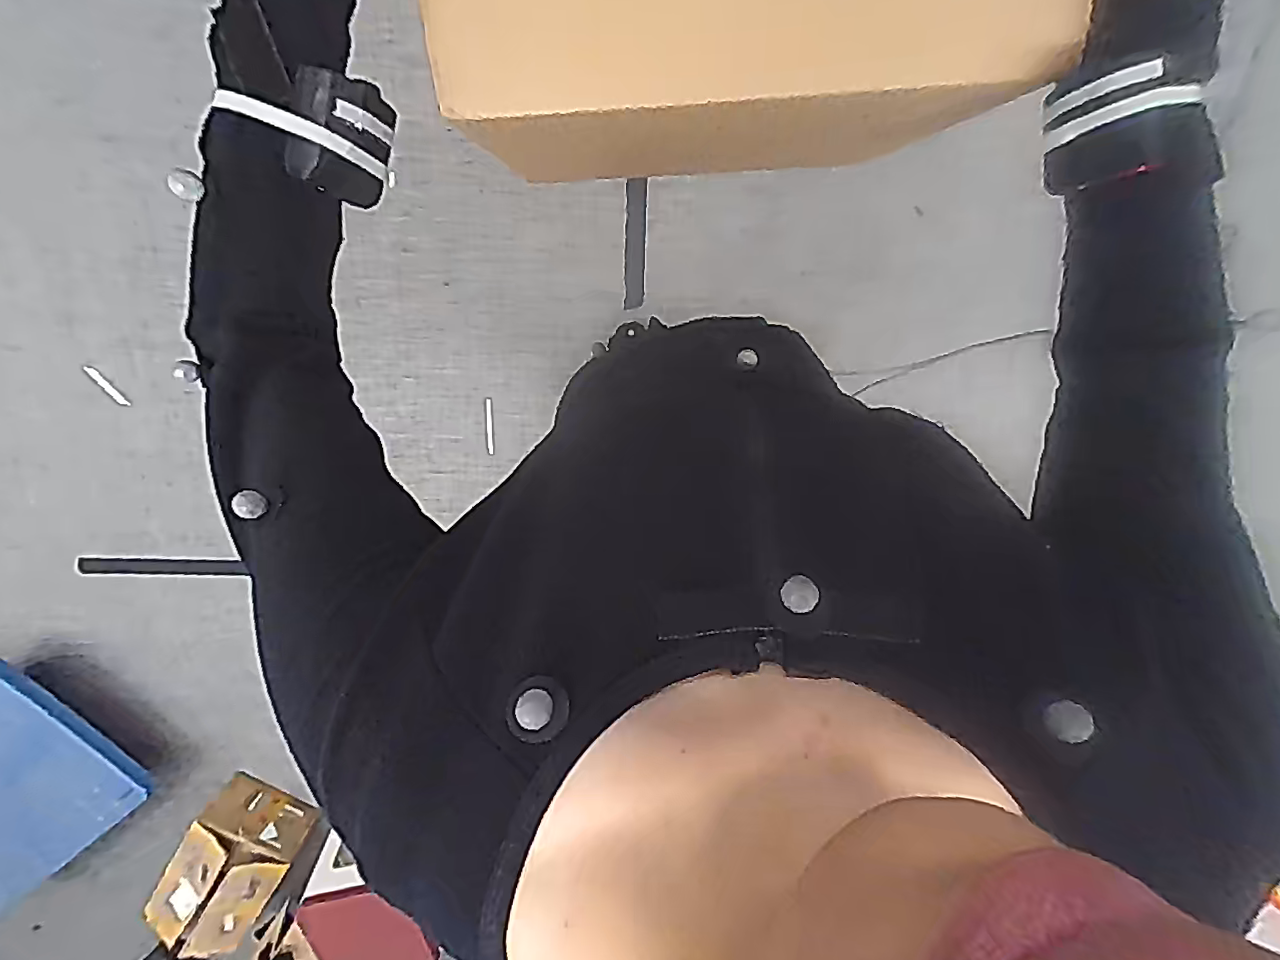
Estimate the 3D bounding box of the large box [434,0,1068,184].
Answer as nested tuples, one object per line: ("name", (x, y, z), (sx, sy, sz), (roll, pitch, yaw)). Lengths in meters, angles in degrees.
("large box", (0.058, -0.449, 0.437), (0.408, 0.320, 0.320), (-4, 112, 0))
